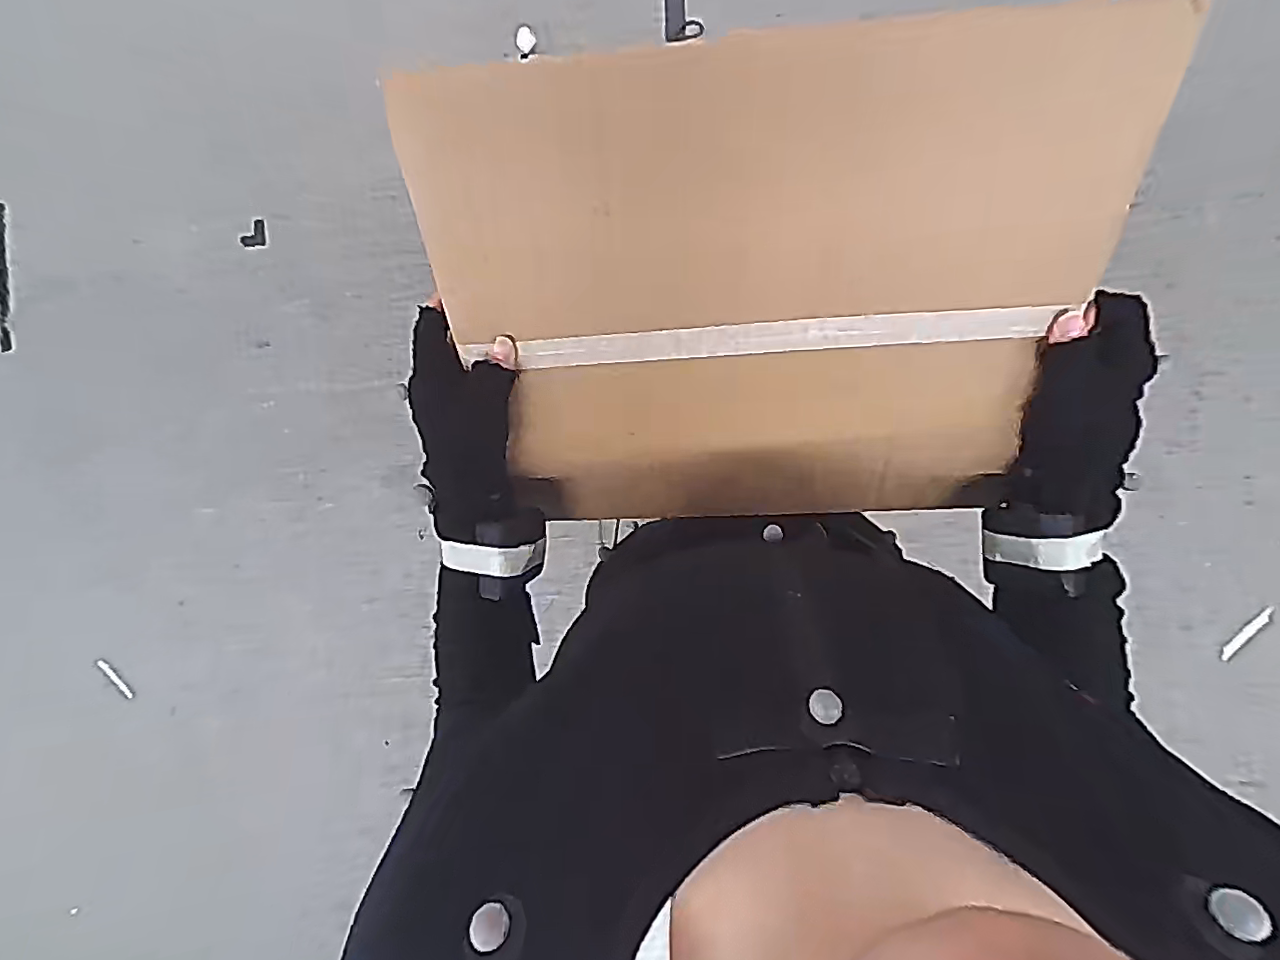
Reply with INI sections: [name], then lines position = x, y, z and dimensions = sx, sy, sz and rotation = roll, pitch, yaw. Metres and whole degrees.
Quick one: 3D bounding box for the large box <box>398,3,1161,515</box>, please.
[large box]
position = 0.079, -0.190, 0.489
dimensions = 0.408, 0.320, 0.320
rotation = -2, 128, 5
